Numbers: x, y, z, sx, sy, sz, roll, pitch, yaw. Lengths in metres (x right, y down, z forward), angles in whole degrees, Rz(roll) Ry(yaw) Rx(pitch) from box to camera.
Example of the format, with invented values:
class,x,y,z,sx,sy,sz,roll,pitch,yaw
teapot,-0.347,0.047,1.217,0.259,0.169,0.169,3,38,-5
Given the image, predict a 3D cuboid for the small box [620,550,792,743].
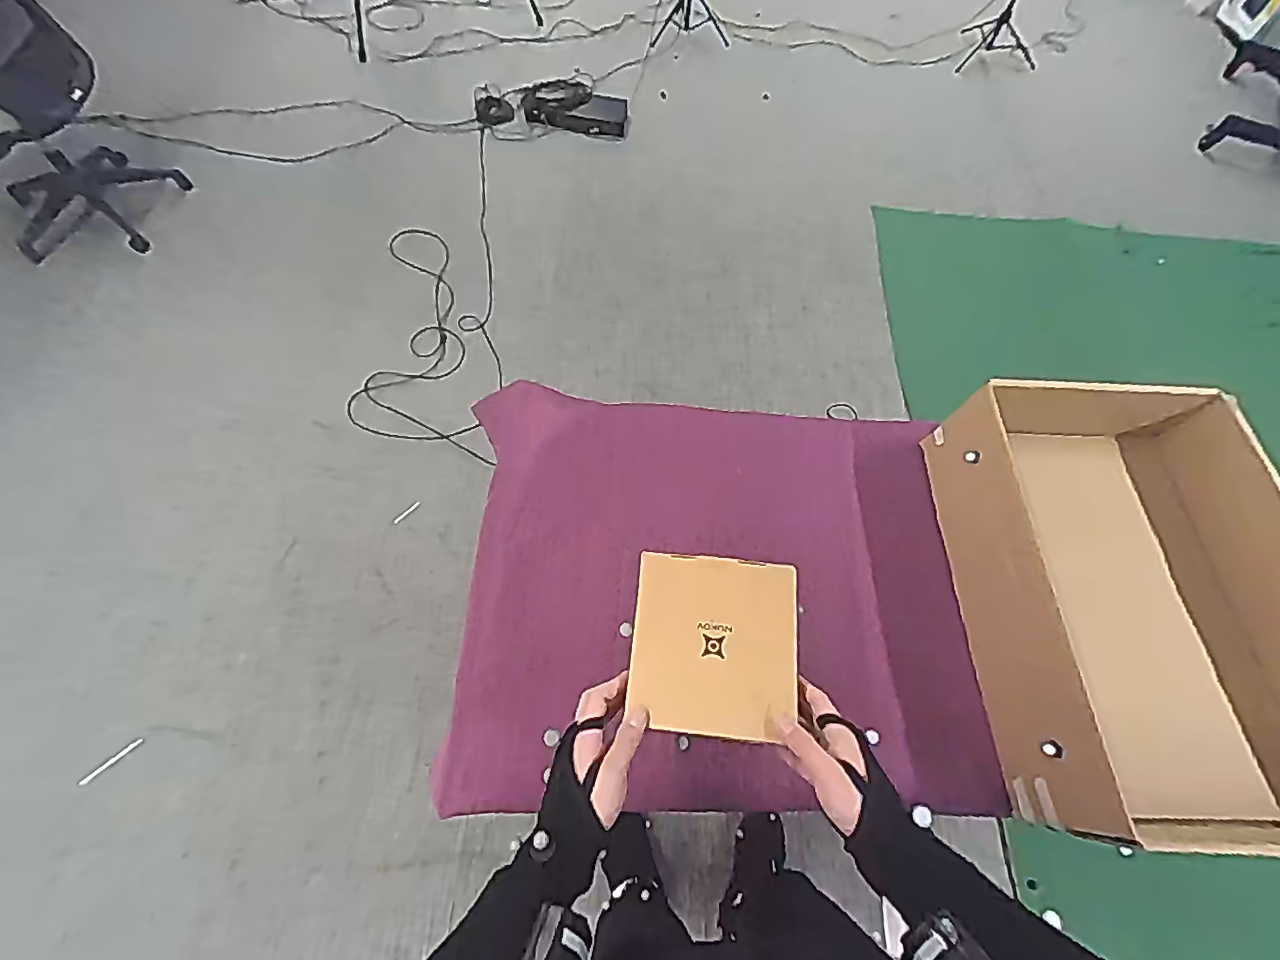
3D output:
class,x,y,z,sx,sy,sz,roll,pitch,yaw
small box,0.075,0.195,0.616,0.168,0.176,0.179,4,63,5
